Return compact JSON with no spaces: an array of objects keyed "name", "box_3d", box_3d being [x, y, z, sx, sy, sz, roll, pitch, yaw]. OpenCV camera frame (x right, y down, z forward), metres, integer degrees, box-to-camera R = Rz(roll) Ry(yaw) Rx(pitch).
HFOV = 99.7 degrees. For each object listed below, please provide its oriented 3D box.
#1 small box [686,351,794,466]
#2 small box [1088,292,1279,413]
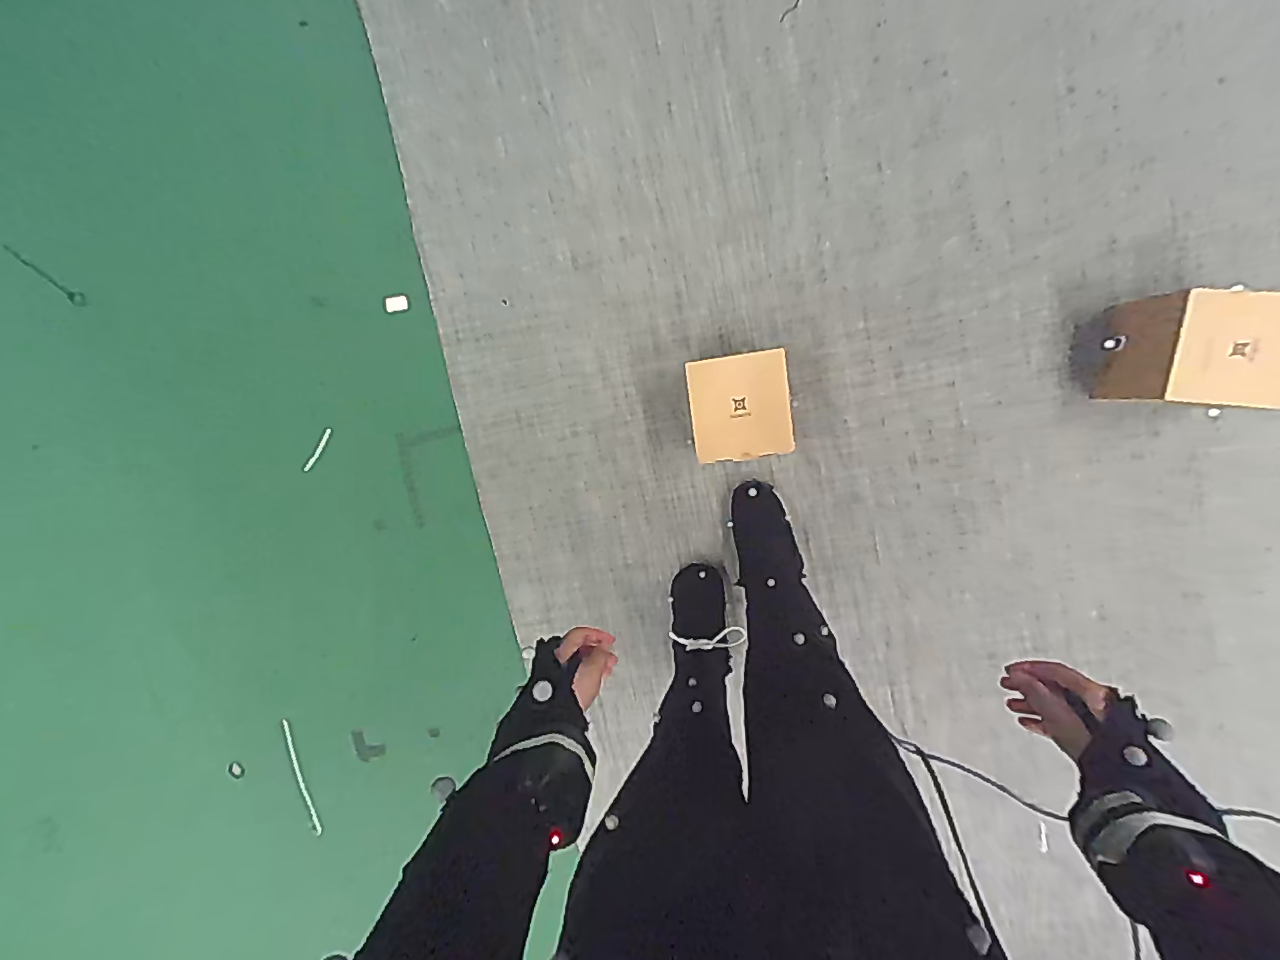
[{"name":"small box","box_3d":[0.176,-0.129,0.980,0.168,0.176,0.179,-7,99,9]},{"name":"small box","box_3d":[0.885,-0.200,0.873,0.179,0.176,0.168,5,99,8]}]
